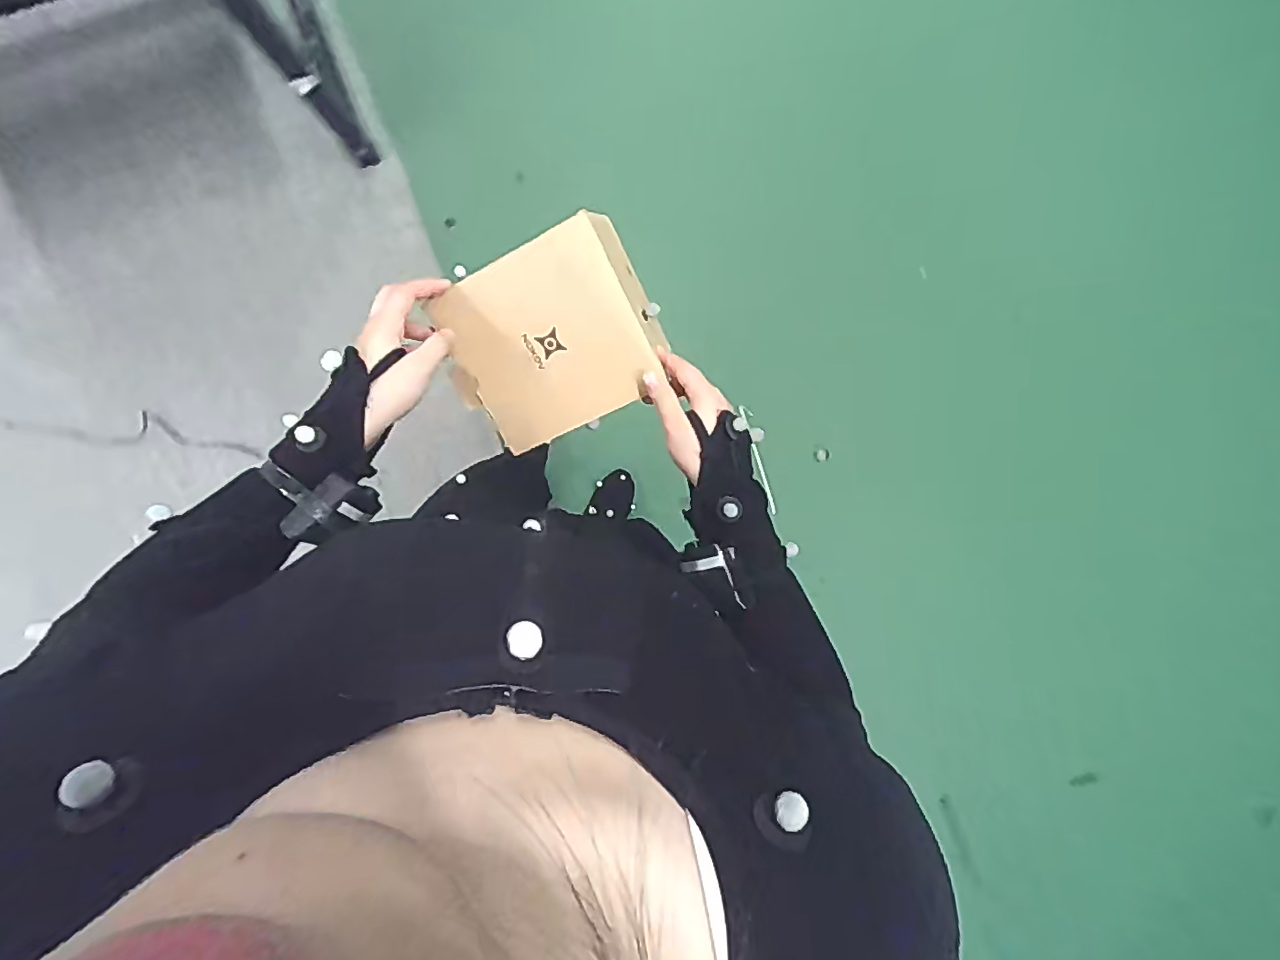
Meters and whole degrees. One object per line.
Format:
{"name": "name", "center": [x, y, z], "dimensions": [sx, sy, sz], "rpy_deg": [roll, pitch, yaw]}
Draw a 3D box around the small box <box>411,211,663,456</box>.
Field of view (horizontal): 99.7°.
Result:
{"name": "small box", "center": [-0.088, -0.157, 0.556], "dimensions": [0.179, 0.176, 0.168], "rpy_deg": [-24, 112, 15]}
